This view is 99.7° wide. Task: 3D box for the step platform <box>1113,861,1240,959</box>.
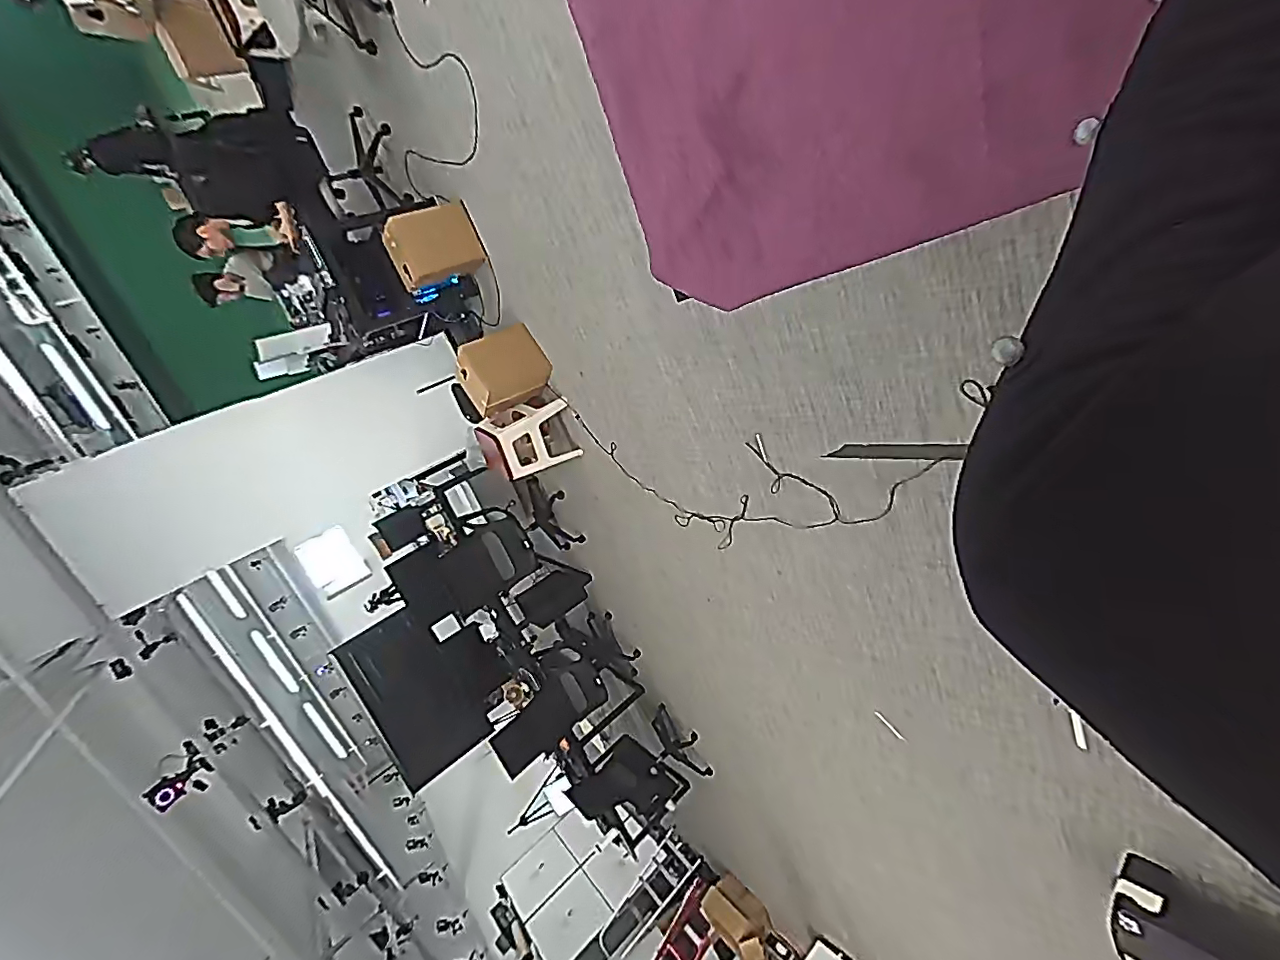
[{"bbox_3d":[1.697,1.362,1.420,0.684,0.204,0.286,4,122,55],"label":"step platform"}]
